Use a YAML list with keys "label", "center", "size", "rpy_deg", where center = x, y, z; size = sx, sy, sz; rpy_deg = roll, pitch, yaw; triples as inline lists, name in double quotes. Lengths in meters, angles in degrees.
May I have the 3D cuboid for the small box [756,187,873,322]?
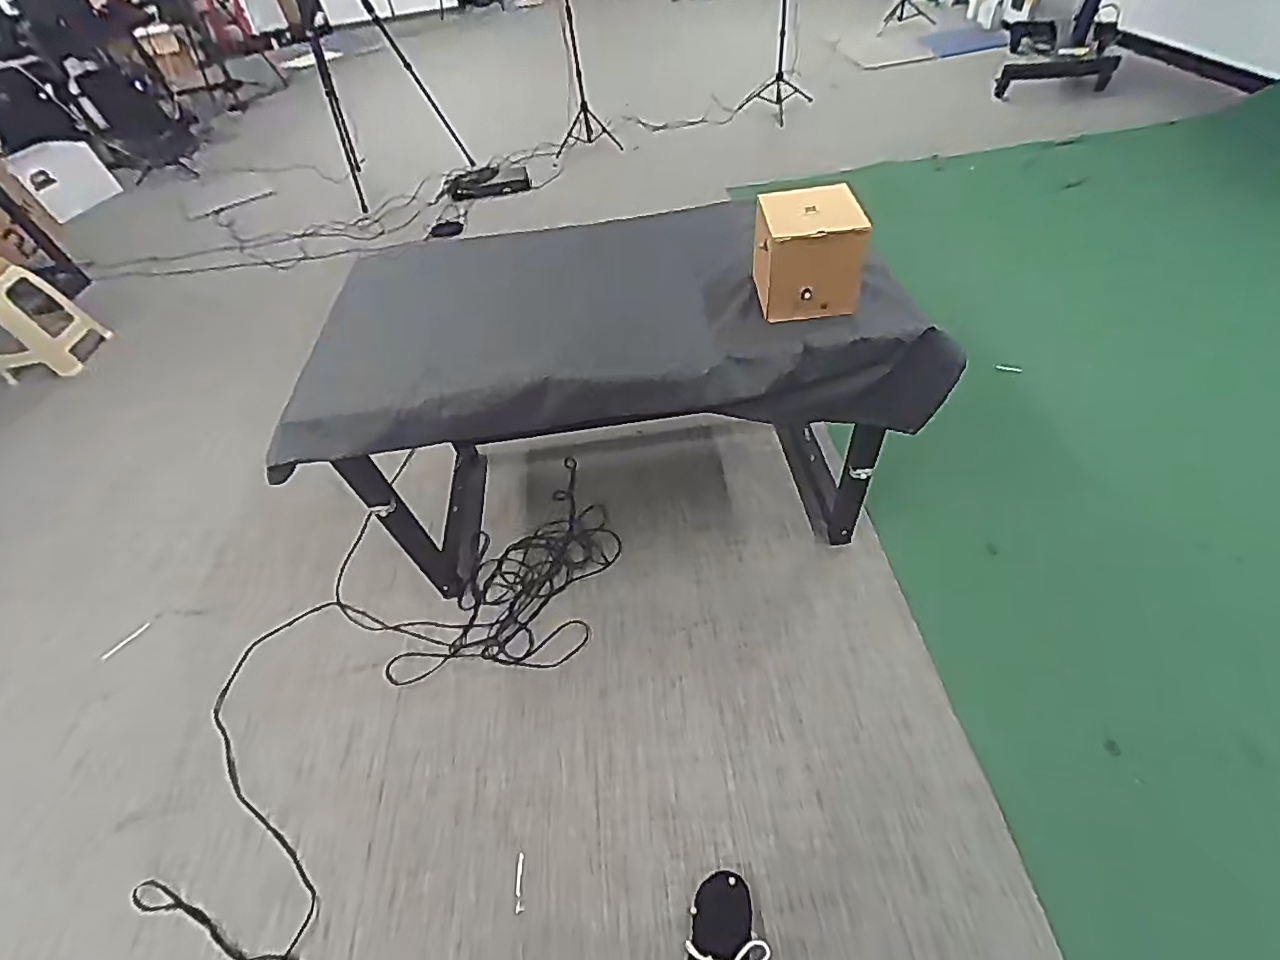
- label: "small box"
  center: [0.314, -0.422, 1.018]
  size: [0.168, 0.176, 0.179]
  rpy_deg: [-5, 50, 4]
